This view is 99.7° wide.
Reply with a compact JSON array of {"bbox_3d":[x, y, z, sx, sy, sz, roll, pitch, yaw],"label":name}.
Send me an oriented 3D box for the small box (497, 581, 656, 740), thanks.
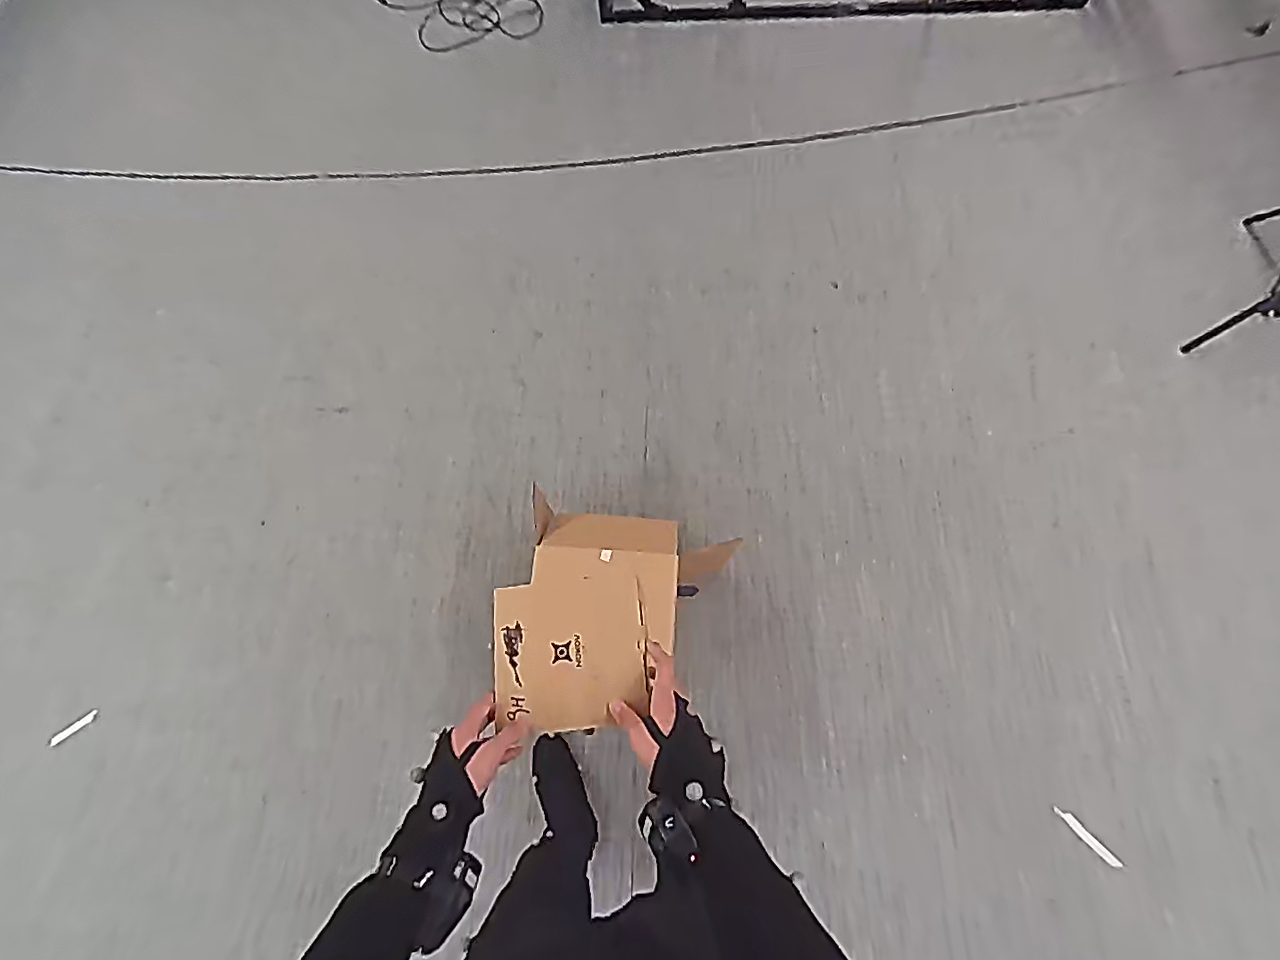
[{"bbox_3d":[-0.073,0.226,0.689,0.179,0.176,0.168,-5,71,0],"label":"small box"}]
